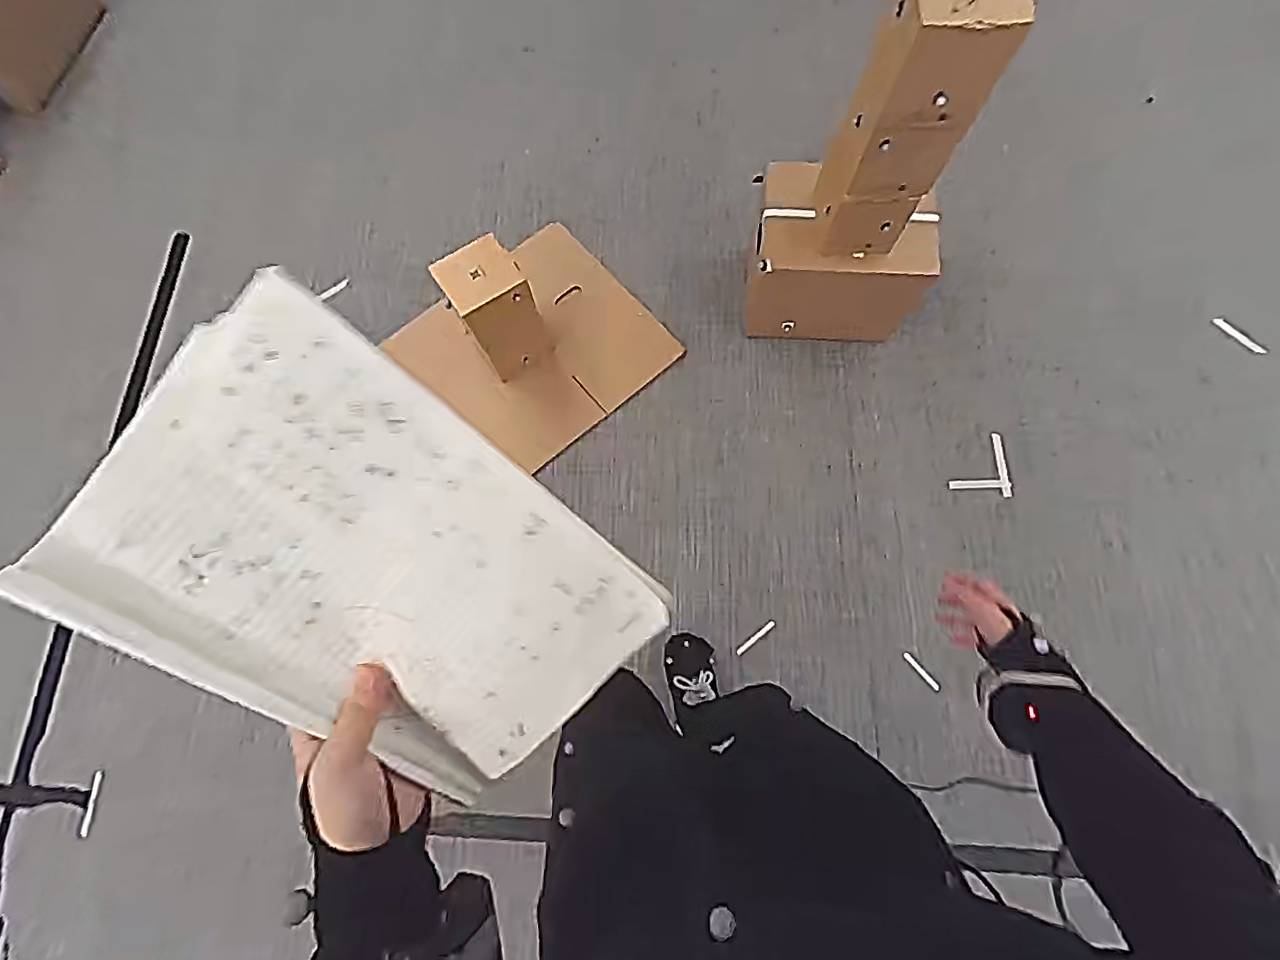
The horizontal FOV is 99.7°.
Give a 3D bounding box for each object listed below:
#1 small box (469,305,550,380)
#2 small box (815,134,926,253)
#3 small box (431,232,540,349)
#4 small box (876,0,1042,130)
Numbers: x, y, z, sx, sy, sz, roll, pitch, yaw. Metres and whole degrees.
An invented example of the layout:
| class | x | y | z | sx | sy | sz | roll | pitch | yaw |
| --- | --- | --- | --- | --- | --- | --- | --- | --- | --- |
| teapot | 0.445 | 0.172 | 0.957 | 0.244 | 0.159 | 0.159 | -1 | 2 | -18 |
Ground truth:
| class | x | y | z | sx | sy | sz | roll | pitch | yaw |
| --- | --- | --- | --- | --- | --- | --- | --- | --- | --- |
| small box | -0.361 | -0.408 | 1.472 | 0.179 | 0.176 | 0.168 | -35 | 76 | -10 |
| small box | 0.499 | -0.623 | 1.195 | 0.168 | 0.176 | 0.179 | -1 | 74 | 0 |
| small box | -0.367 | -0.451 | 1.315 | 0.179 | 0.176 | 0.168 | -33 | 76 | -9 |
| small box | 0.500 | -0.711 | 0.877 | 0.168 | 0.176 | 0.179 | 1 | 75 | 2 |
